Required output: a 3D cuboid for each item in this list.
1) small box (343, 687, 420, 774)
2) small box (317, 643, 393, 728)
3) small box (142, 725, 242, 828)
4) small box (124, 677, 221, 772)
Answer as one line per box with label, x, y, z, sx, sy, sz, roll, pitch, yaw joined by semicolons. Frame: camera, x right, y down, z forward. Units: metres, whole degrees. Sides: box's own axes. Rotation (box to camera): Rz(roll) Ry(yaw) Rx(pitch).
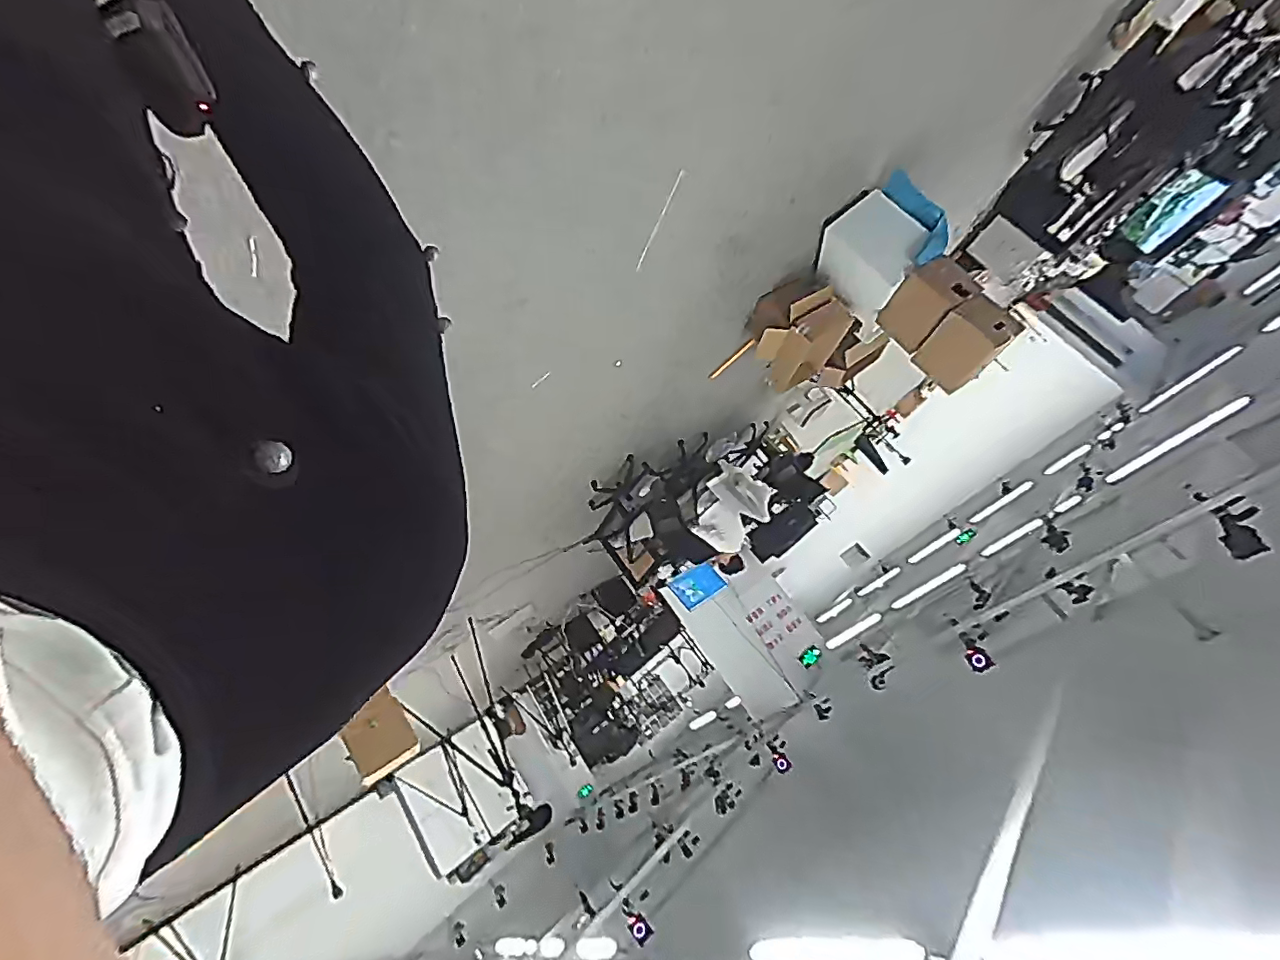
small box;-0.821;0.791;1.711;0.179;0.176;0.168;-25;161;-35
small box;-0.916;0.659;1.739;0.179;0.176;0.168;-26;161;-34
small box;-1.245;0.820;1.508;0.179;0.176;0.168;-18;154;-46
small box;-1.342;0.698;1.556;0.179;0.176;0.168;-17;154;-47
